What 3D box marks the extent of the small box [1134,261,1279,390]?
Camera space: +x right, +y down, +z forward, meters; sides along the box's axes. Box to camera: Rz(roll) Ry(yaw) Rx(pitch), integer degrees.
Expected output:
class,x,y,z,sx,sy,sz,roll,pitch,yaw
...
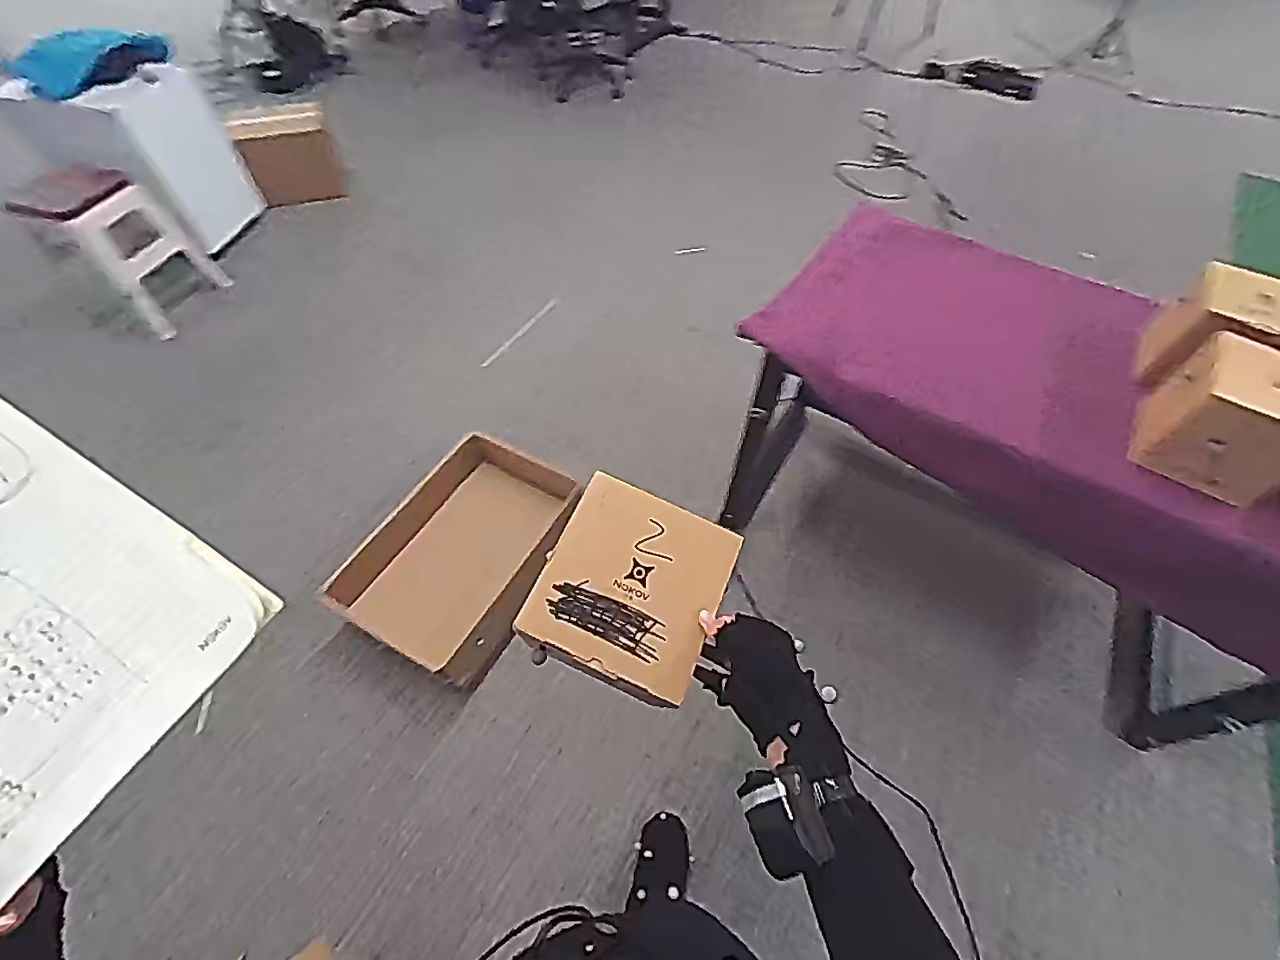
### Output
class,x,y,z,sx,sy,sz,roll,pitch,yaw
small box,1.049,-0.255,0.978,0.168,0.176,0.179,29,60,17

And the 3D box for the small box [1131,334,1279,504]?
class,x,y,z,sx,sy,sz,roll,pitch,yaw
small box,0.943,-0.093,0.864,0.168,0.176,0.179,31,61,19
